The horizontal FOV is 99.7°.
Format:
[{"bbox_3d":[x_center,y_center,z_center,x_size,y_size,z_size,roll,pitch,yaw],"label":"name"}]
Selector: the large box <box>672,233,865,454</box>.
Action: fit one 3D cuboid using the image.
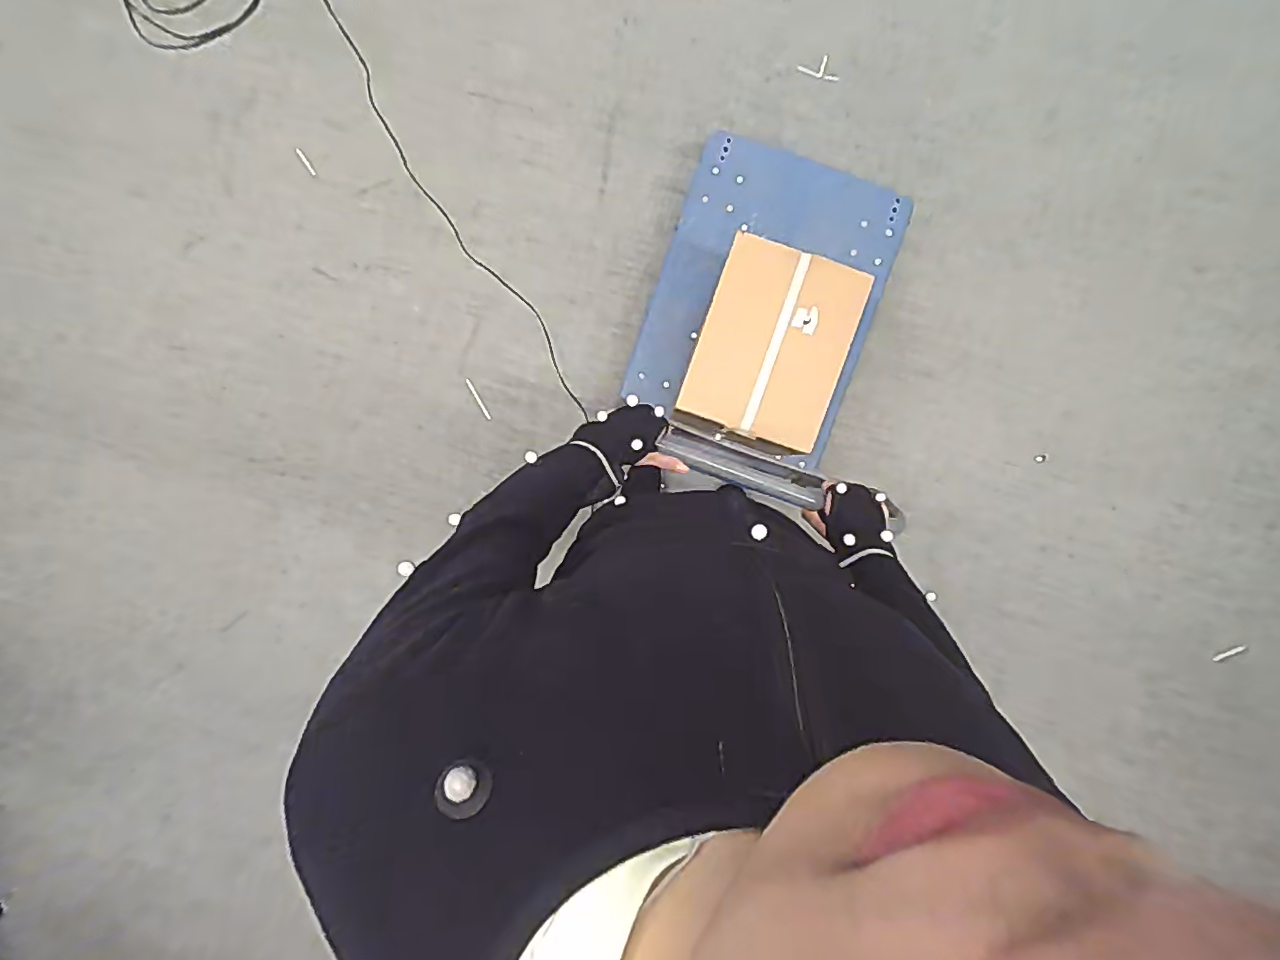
[{"bbox_3d":[0.284,-0.301,1.318,0.320,0.320,0.408,20,91,0],"label":"large box"}]
